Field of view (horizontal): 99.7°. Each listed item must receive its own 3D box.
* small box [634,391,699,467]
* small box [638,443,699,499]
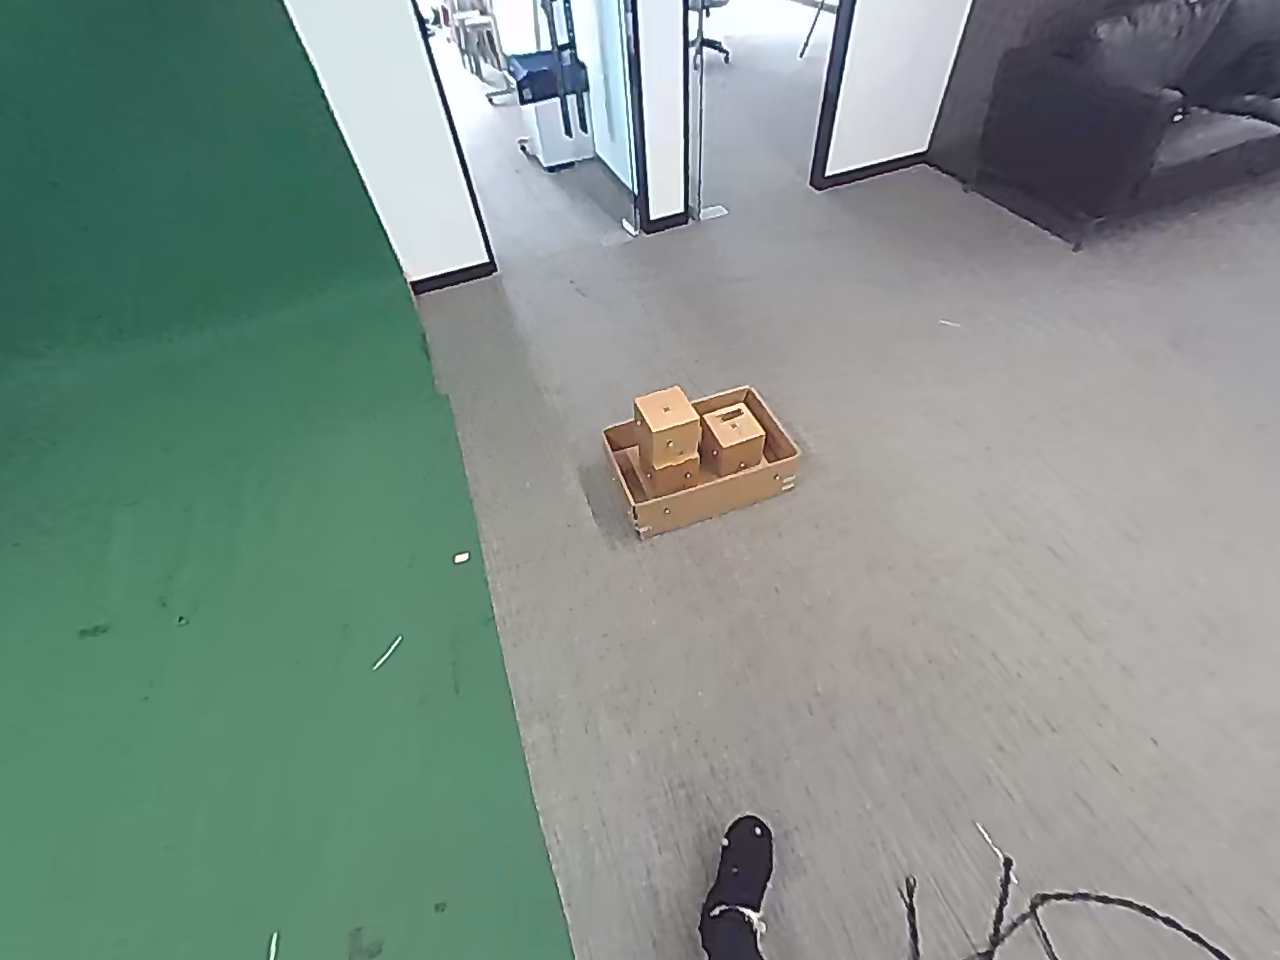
[{"bbox_3d":[0.088,-0.164,1.822,0.168,0.176,0.179,-18,51,-12],"label":"small box"},{"bbox_3d":[0.102,-0.050,1.937,0.168,0.176,0.179,-17,50,-12],"label":"small box"}]
